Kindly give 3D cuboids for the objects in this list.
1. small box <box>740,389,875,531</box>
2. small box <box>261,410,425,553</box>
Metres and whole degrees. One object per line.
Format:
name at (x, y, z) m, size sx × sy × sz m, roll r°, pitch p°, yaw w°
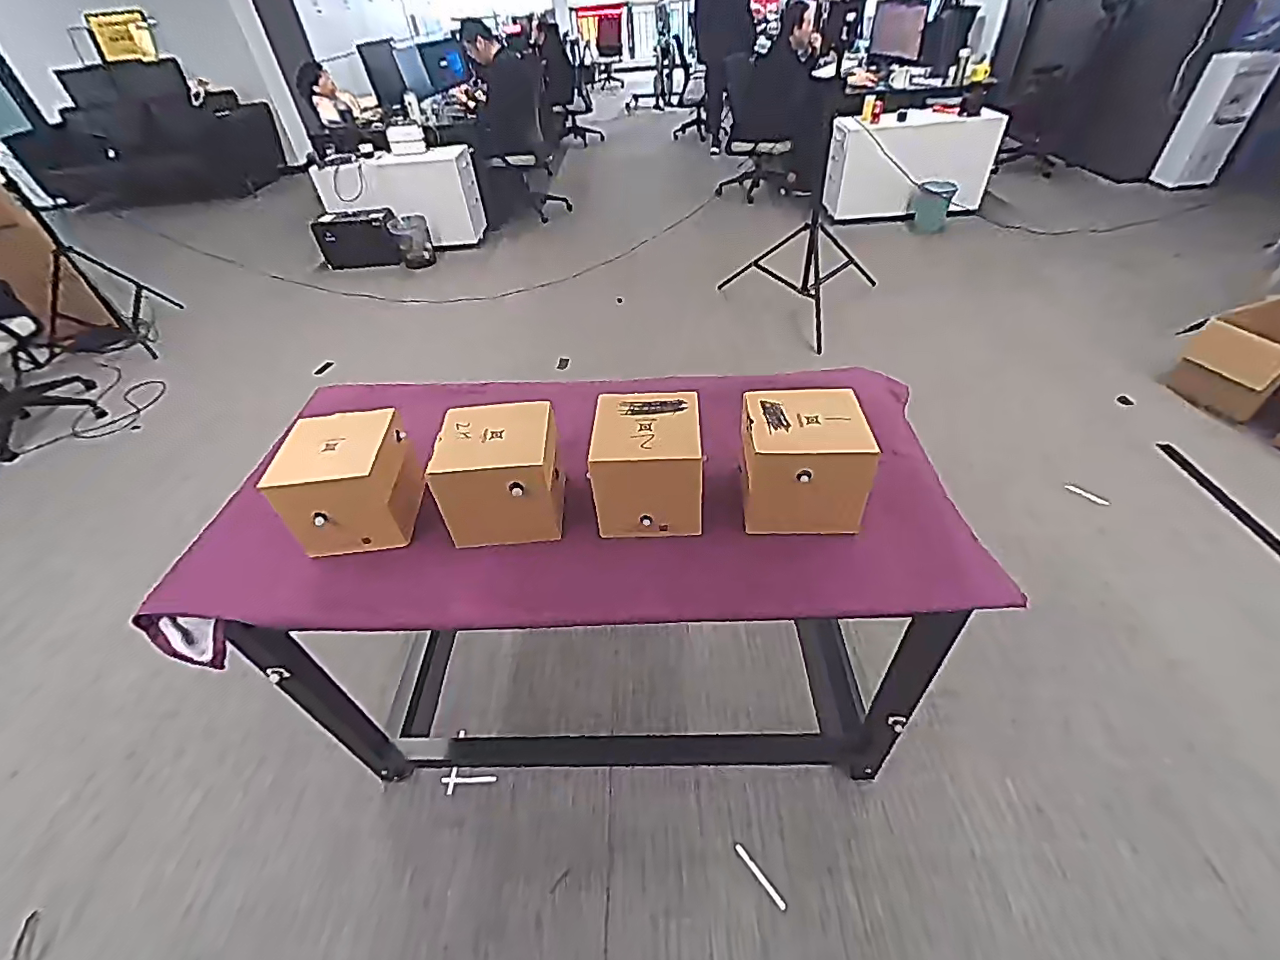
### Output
small box at (0.255, -0.031, 0.872) m, size 0.179 × 0.176 × 0.168 m, roll -1°, pitch 41°, yaw 5°
small box at (-0.480, 0.008, 0.911) m, size 0.168 × 0.176 × 0.179 m, roll -7°, pitch 42°, yaw -2°
